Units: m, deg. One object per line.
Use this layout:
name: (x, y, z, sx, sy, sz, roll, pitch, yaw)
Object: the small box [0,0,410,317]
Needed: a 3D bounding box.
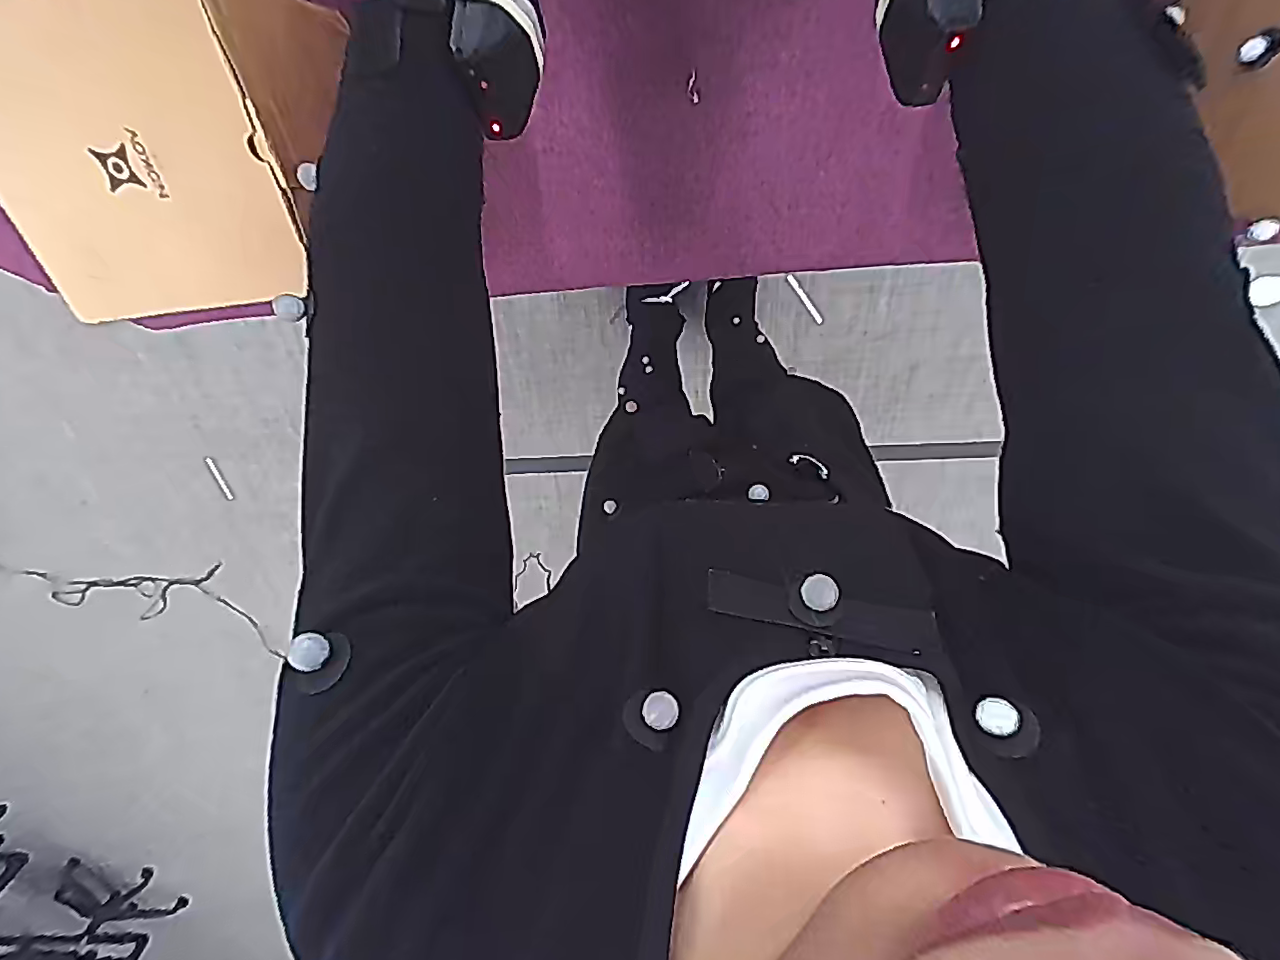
small box: (-0.299, -0.228, 0.384, 0.179, 0.176, 0.168, -7, 122, 4)
